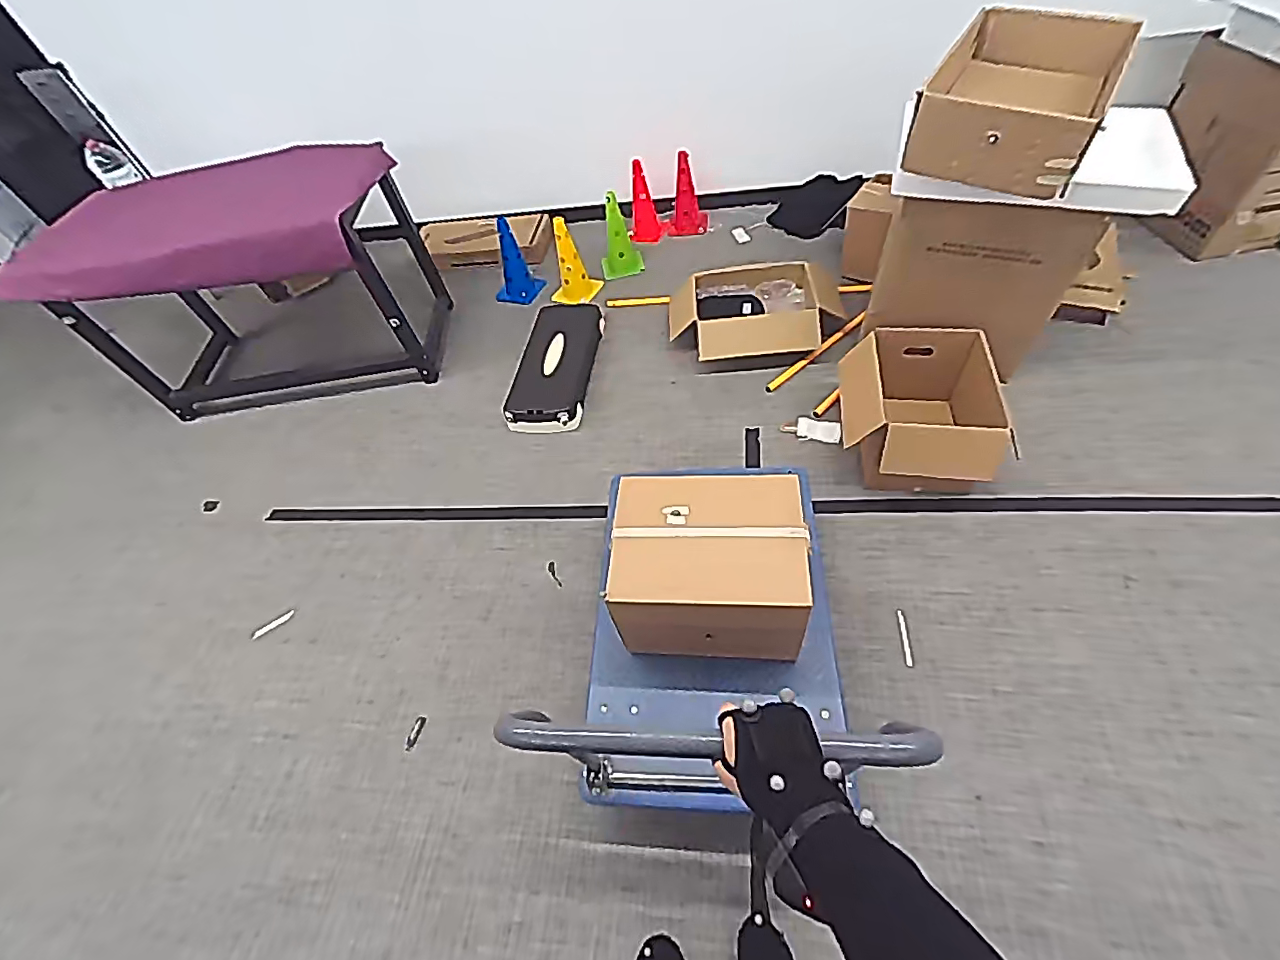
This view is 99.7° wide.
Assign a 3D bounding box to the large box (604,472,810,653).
[{"bbox_3d":[0.157,0.201,1.250,0.408,0.320,0.320,-2,52,10],"label":"large box"}]
